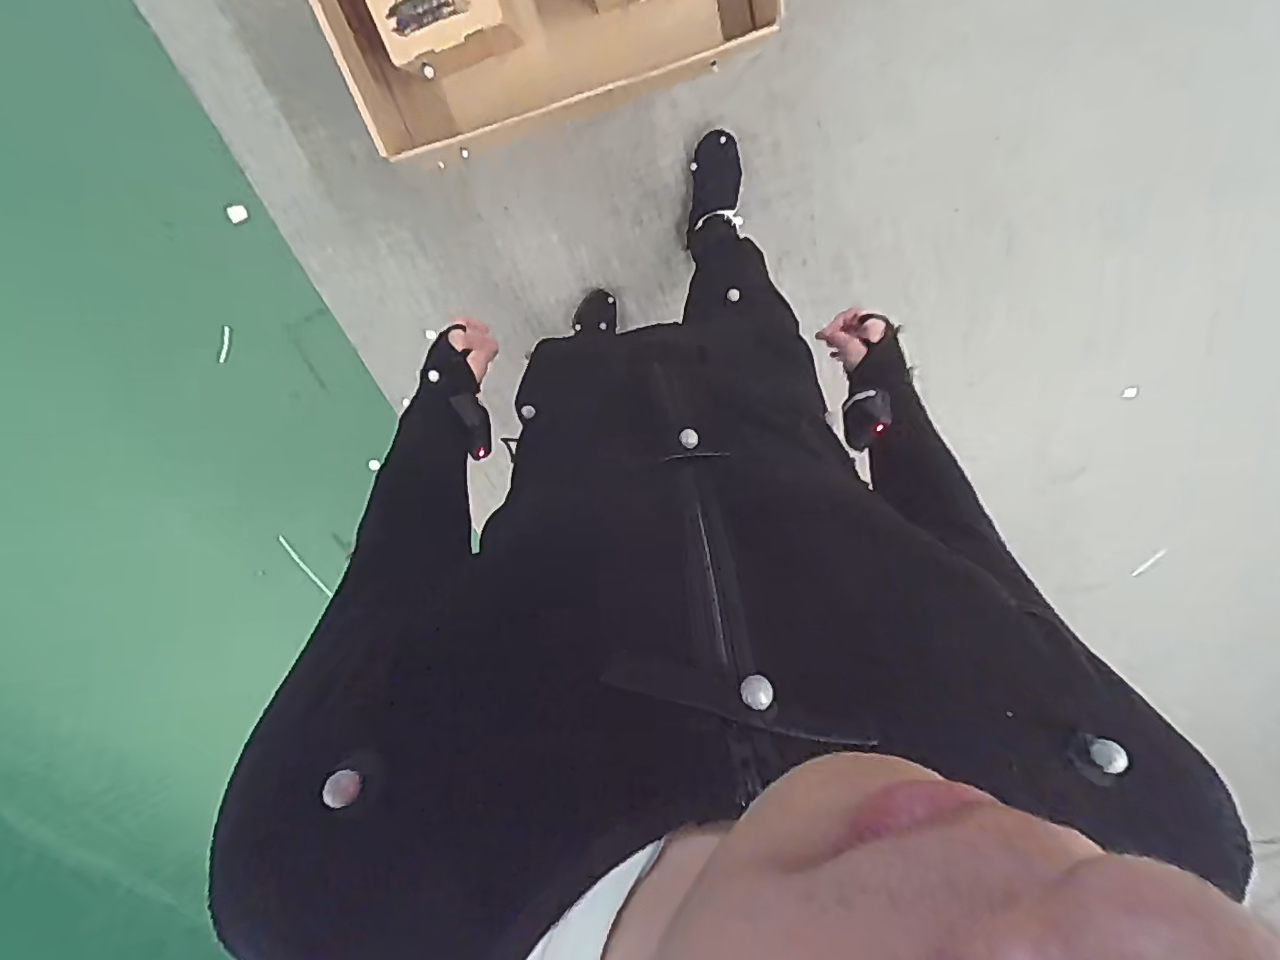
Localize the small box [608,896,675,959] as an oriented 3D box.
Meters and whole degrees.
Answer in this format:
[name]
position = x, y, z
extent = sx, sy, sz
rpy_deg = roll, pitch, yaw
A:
[small box]
position = 0.009, 1.426, 1.671
extent = 0.168, 0.176, 0.179
rpy_deg = -17, 120, 8
